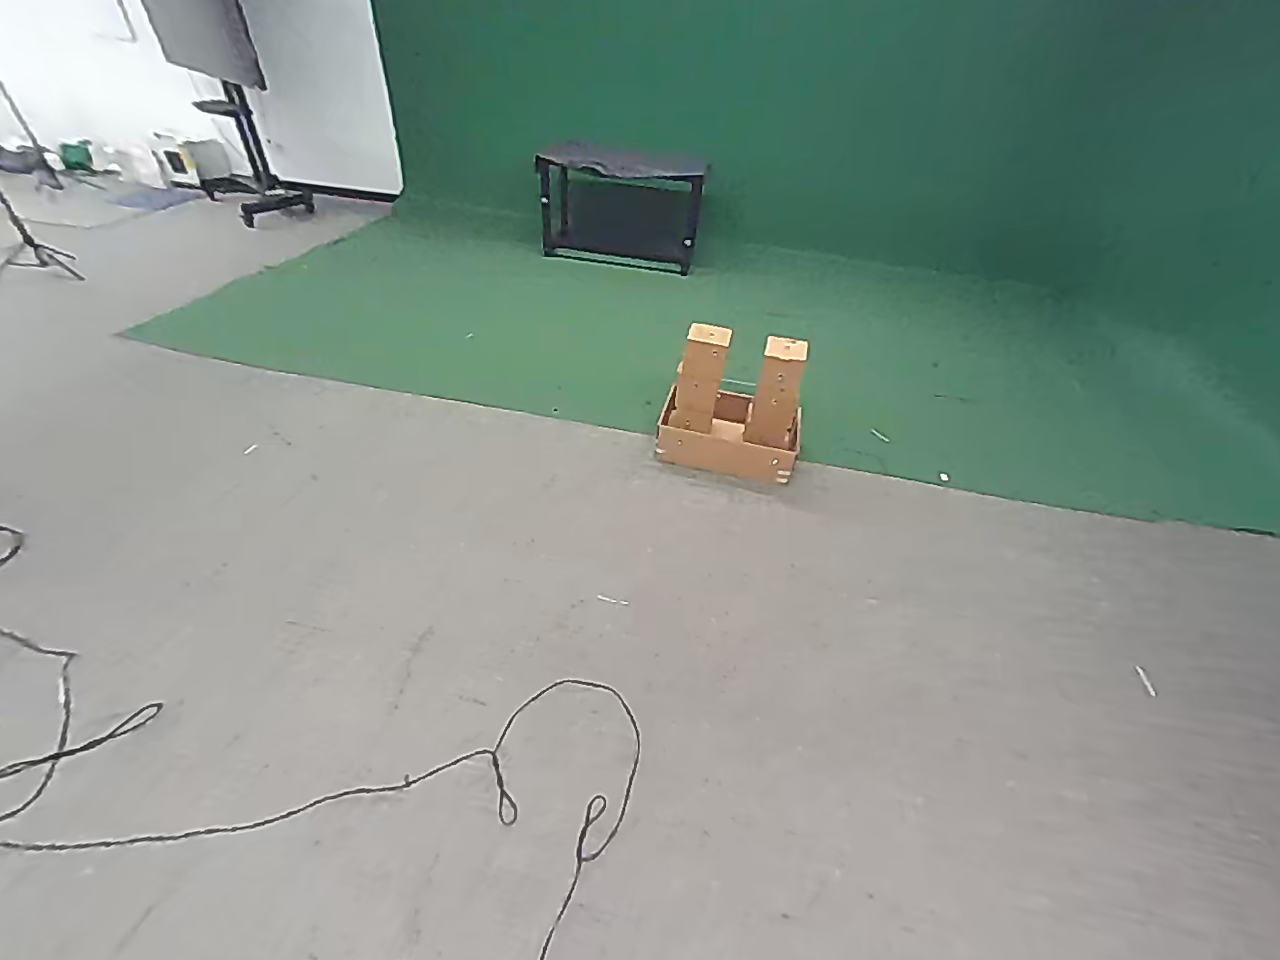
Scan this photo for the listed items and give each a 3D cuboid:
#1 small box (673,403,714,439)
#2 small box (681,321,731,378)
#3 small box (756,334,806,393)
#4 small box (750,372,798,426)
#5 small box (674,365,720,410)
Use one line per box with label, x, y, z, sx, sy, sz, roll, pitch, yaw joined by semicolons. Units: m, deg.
small box;0.252;-0.314;2.527;0.168;0.176;0.179;12;42;6
small box;0.280;-0.552;2.300;0.179;0.176;0.168;12;41;7
small box;0.588;-0.484;2.257;0.168;0.176;0.179;13;44;10
small box;0.582;-0.354;2.359;0.179;0.176;0.168;10;43;7
small box;0.257;-0.432;2.412;0.179;0.176;0.168;13;42;6
